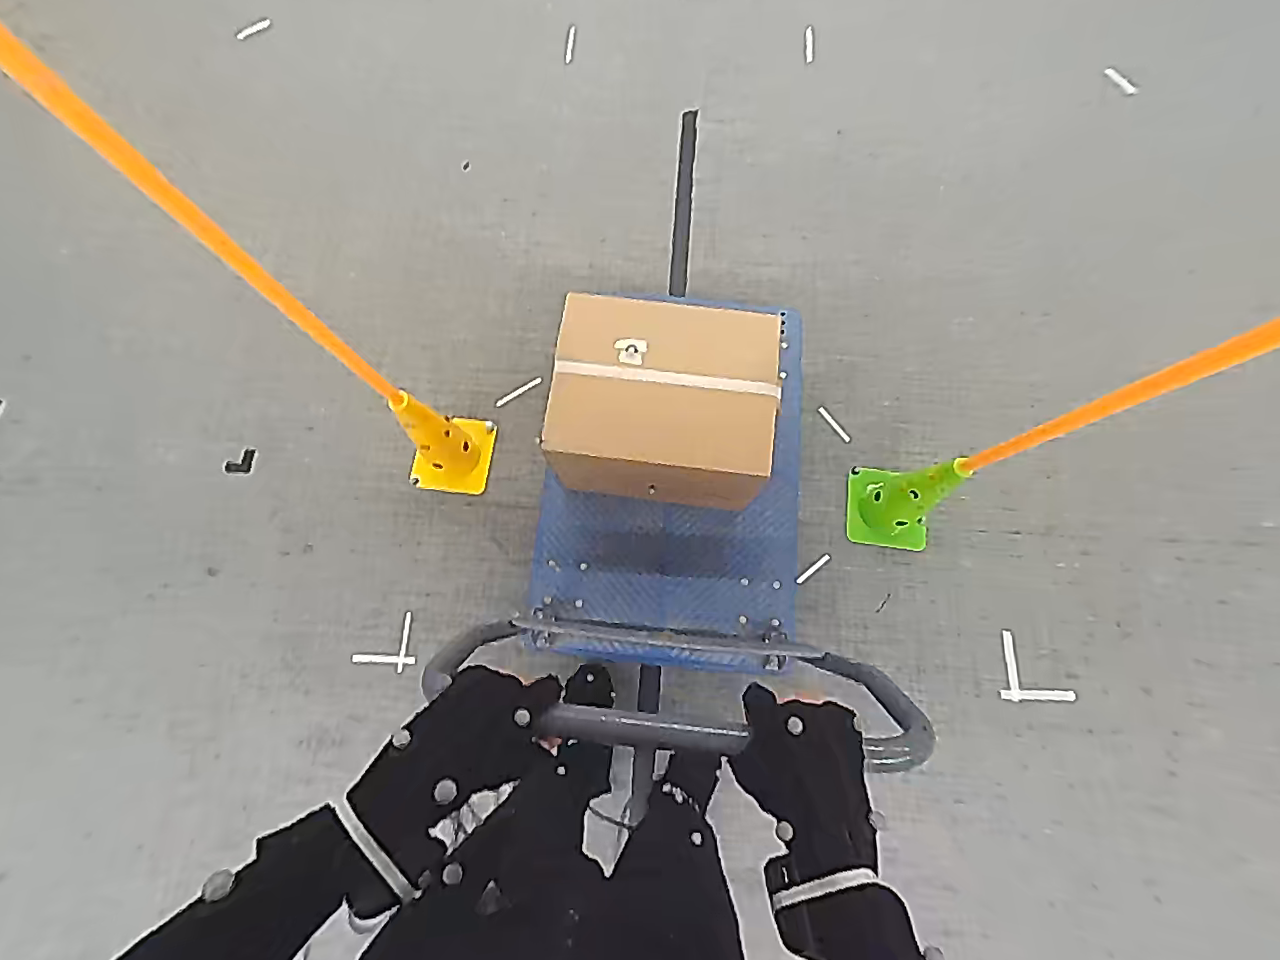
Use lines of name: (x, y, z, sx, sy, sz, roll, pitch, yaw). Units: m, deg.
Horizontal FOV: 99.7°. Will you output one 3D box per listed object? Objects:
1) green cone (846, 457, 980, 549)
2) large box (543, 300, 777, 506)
green cone: (0.635, 0.024, 1.224, 0.202, 0.368, 0.200, 8, 75, 1)
large box: (0.047, -0.139, 1.124, 0.408, 0.320, 0.320, 7, 76, 3)
